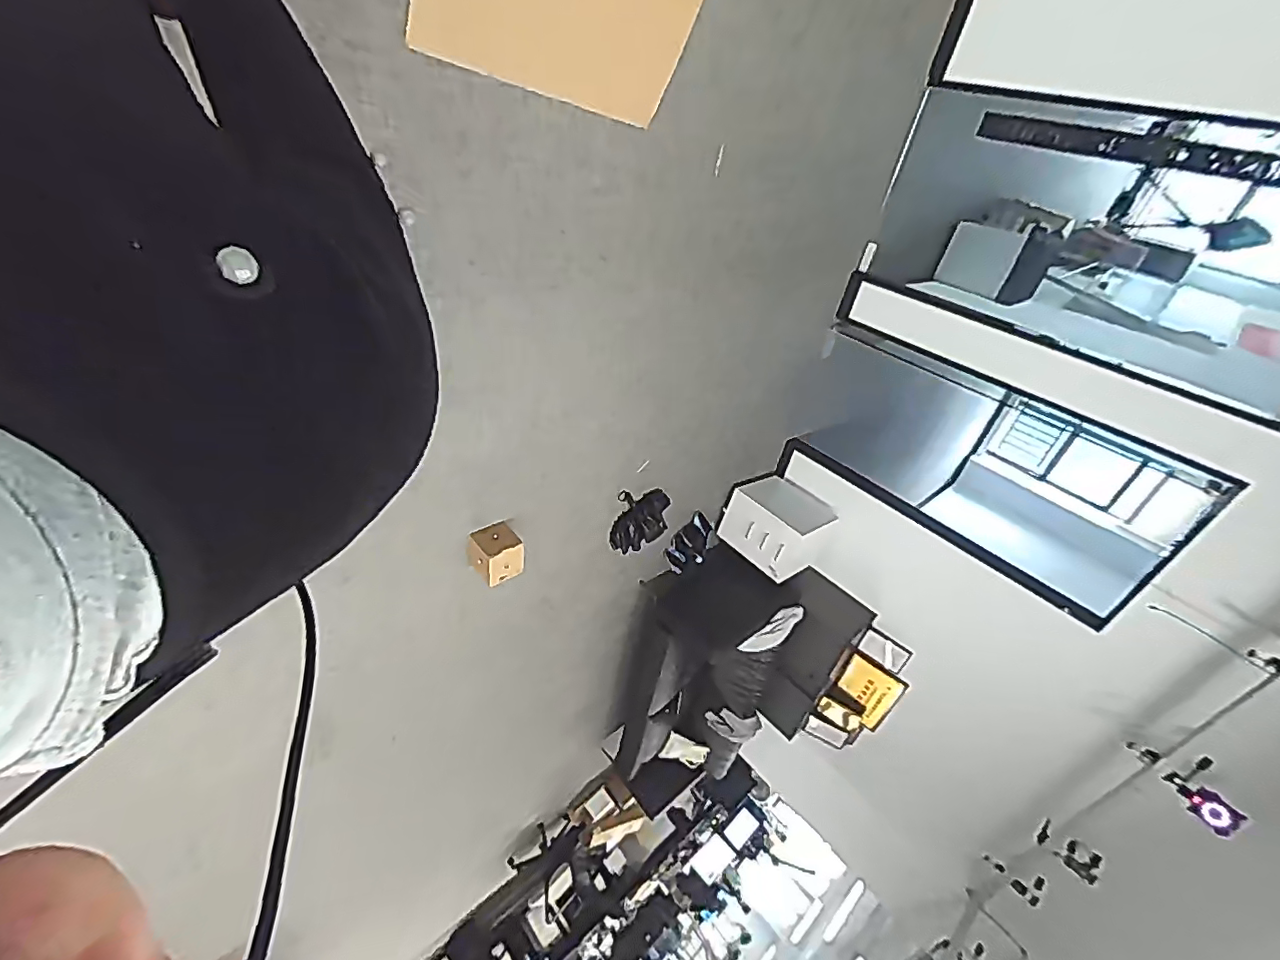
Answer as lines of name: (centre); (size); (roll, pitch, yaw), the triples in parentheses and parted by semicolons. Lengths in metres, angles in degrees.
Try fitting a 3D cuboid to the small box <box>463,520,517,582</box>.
small box: (-0.641, 0.293, 2.307); (0.168, 0.176, 0.179); (-24, 139, -37)
